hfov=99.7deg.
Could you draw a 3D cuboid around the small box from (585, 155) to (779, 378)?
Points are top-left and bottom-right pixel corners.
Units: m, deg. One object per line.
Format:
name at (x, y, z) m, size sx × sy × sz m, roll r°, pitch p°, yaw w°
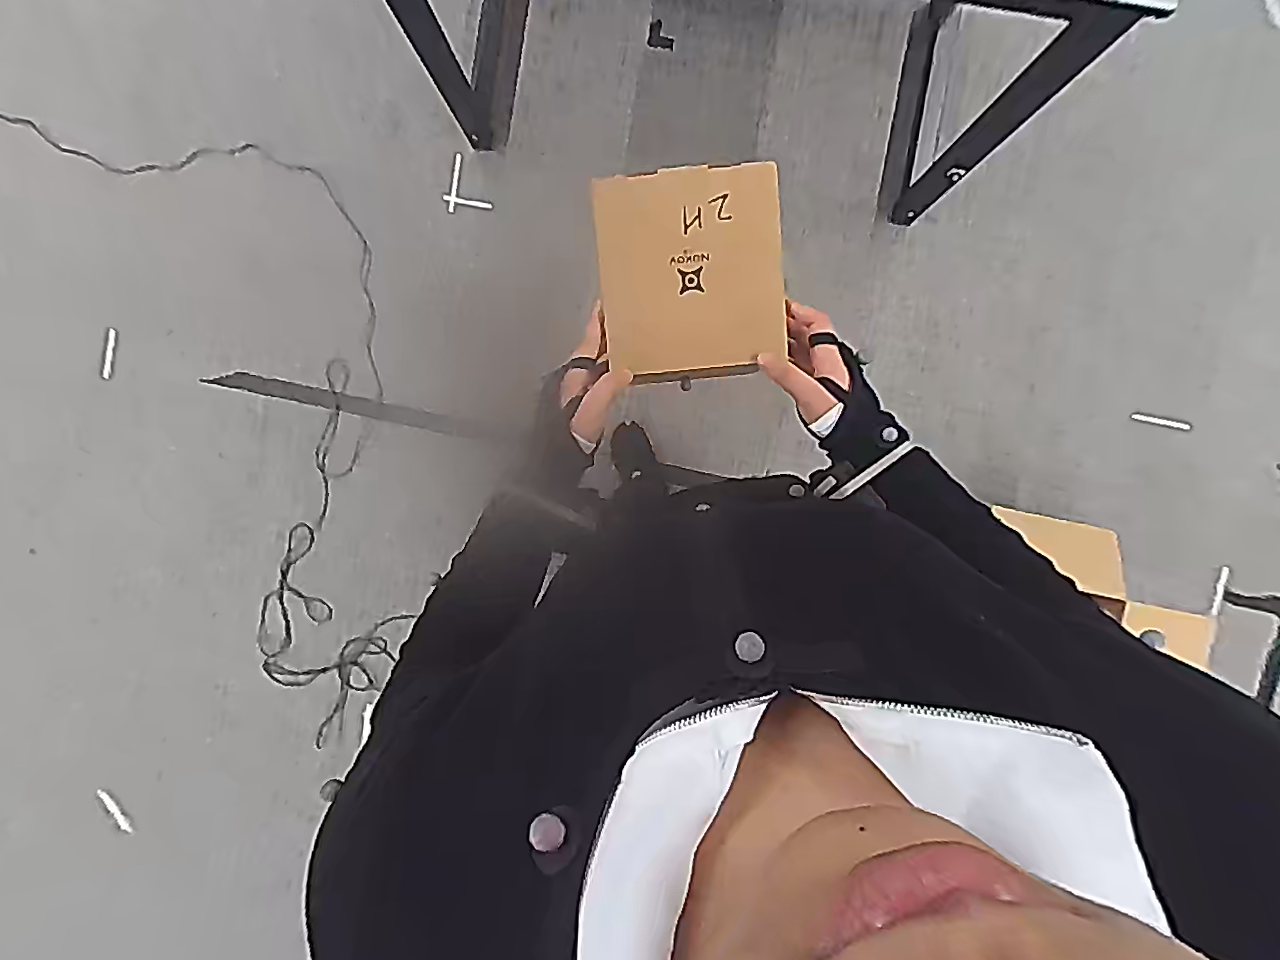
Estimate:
small box at (0.040, -0.200, 0.559) m, size 0.168 × 0.176 × 0.179 m, roll -5°, pitch 97°, yaw 0°
